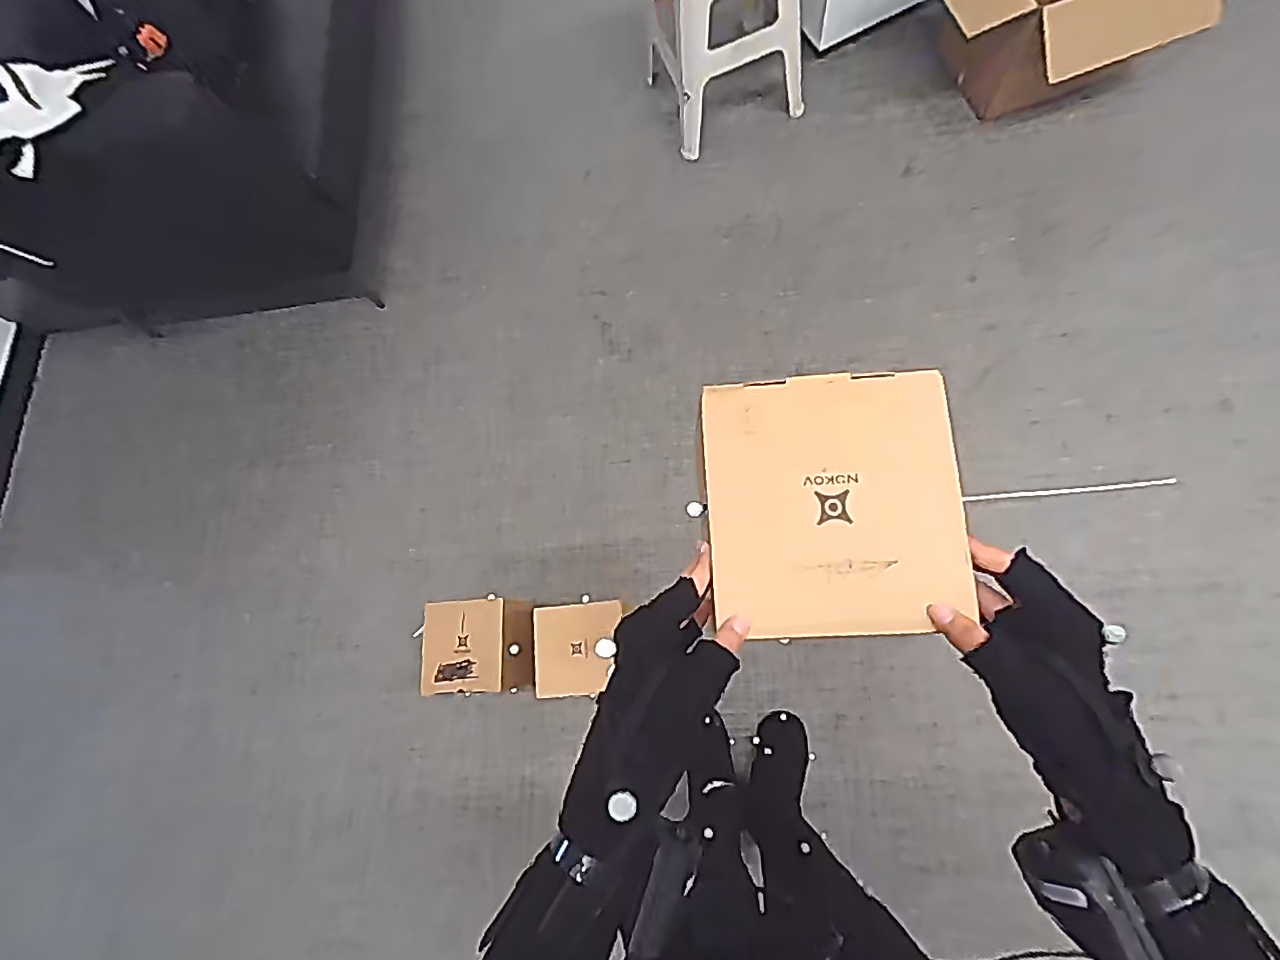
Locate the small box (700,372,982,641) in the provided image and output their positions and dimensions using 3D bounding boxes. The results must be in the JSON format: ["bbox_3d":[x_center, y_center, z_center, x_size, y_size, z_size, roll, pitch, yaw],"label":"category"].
[{"bbox_3d":[0.136,0.029,0.436,0.168,0.176,0.179,-4,80,5],"label":"small box"}]

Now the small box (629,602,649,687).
[{"bbox_3d":[-0.076,0.378,1.236,0.168,0.176,0.179,-7,74,8],"label":"small box"}]

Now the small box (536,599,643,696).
[{"bbox_3d":[-0.096,0.332,1.081,0.179,0.176,0.168,-7,75,7],"label":"small box"}]
